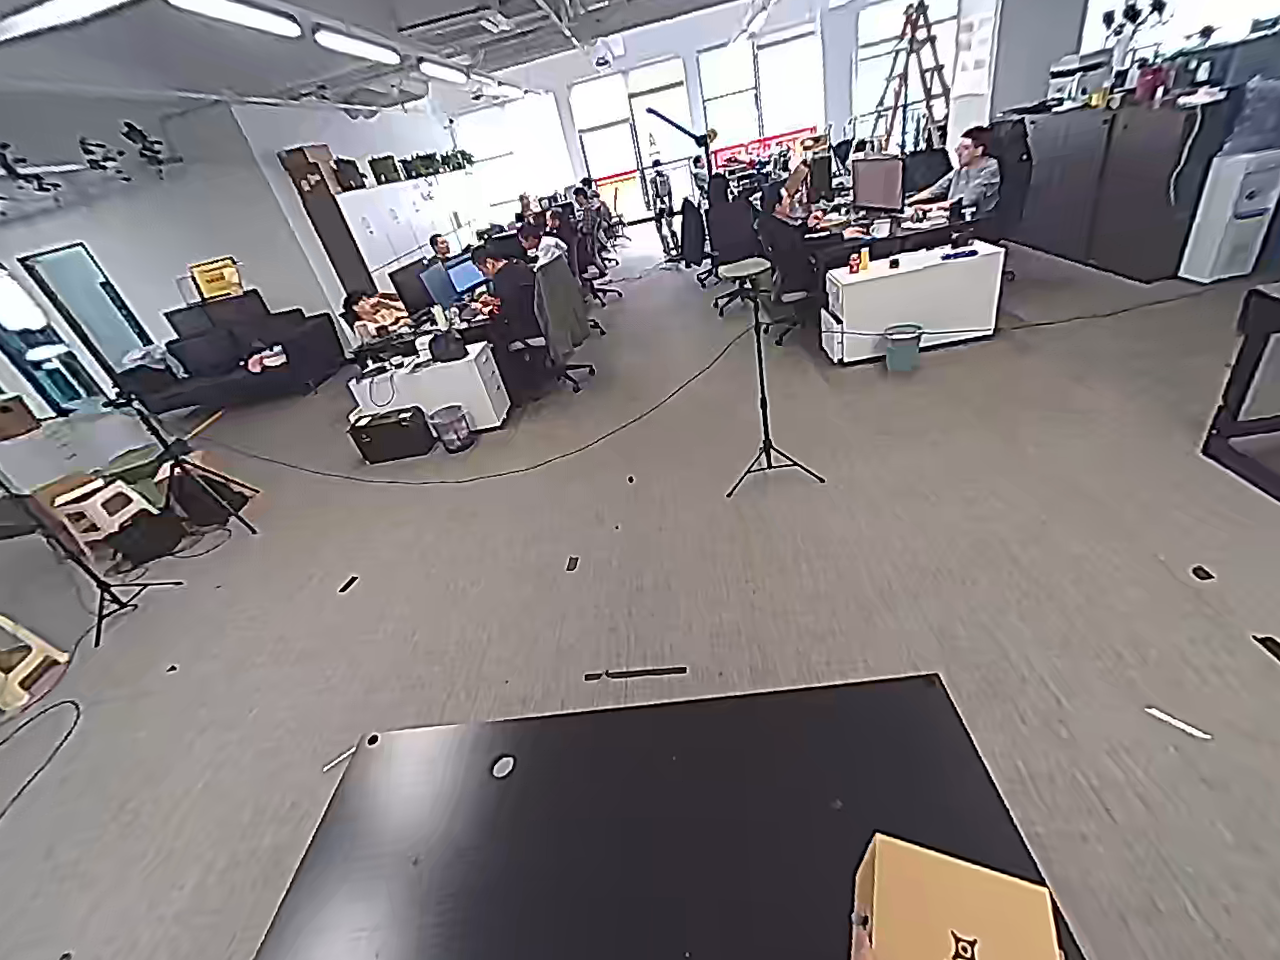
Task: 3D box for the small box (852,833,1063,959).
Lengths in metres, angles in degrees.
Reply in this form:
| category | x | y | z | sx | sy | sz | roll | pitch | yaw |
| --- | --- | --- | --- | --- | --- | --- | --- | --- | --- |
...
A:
| category | x | y | z | sx | sy | sz | roll | pitch | yaw |
| --- | --- | --- | --- | --- | --- | --- | --- | --- | --- |
| small box | 0.317 | 0.516 | 0.563 | 0.168 | 0.176 | 0.179 | 8 | 44 | 20 |
